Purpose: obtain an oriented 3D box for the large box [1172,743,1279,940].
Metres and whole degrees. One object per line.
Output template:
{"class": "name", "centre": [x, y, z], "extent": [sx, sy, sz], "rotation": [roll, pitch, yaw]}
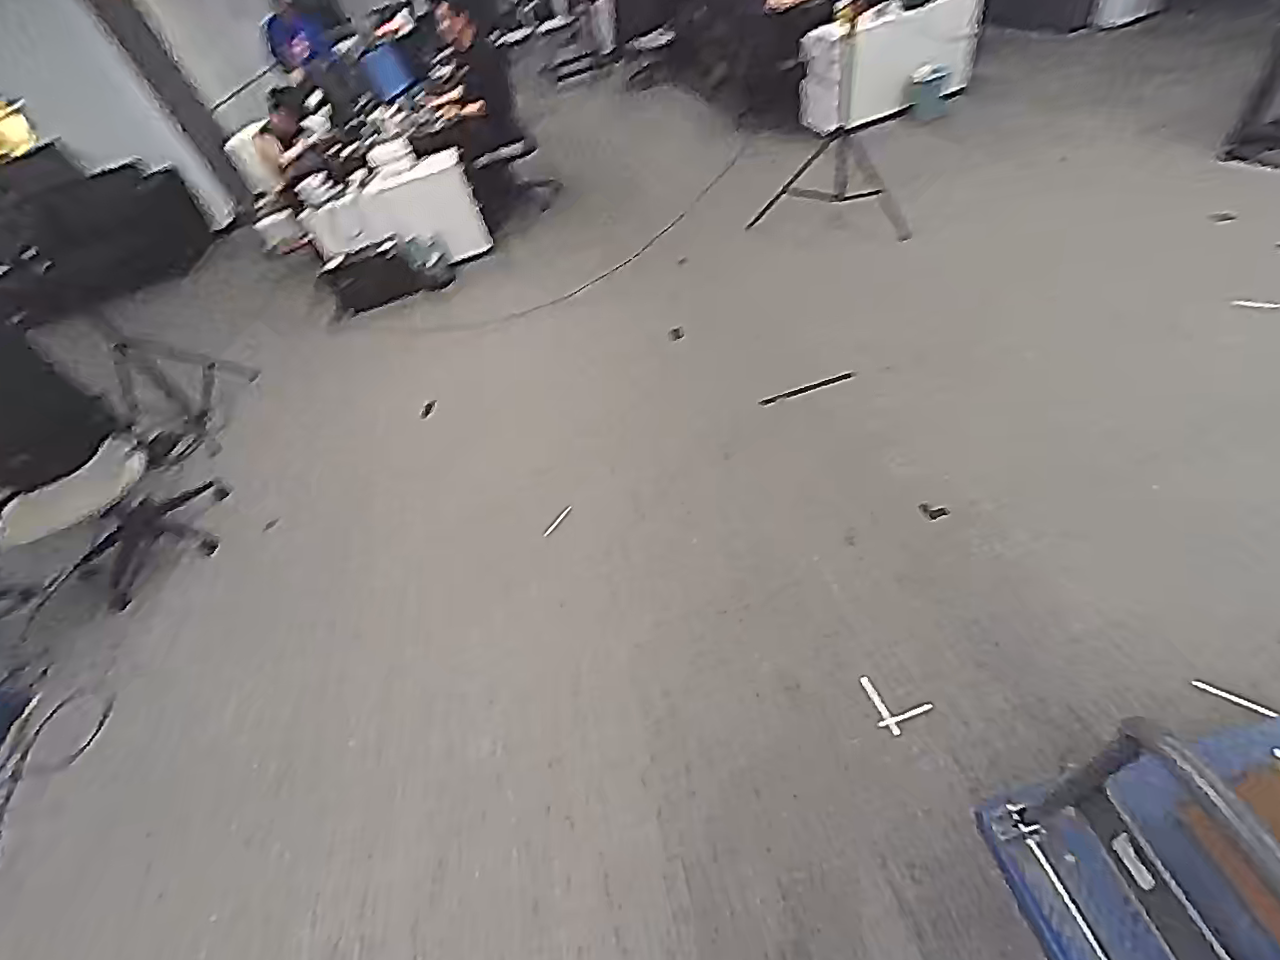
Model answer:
{"class": "large box", "centre": [1.107, 0.577, 0.734], "extent": [0.320, 0.320, 0.408], "rotation": [-17, 45, 1]}
